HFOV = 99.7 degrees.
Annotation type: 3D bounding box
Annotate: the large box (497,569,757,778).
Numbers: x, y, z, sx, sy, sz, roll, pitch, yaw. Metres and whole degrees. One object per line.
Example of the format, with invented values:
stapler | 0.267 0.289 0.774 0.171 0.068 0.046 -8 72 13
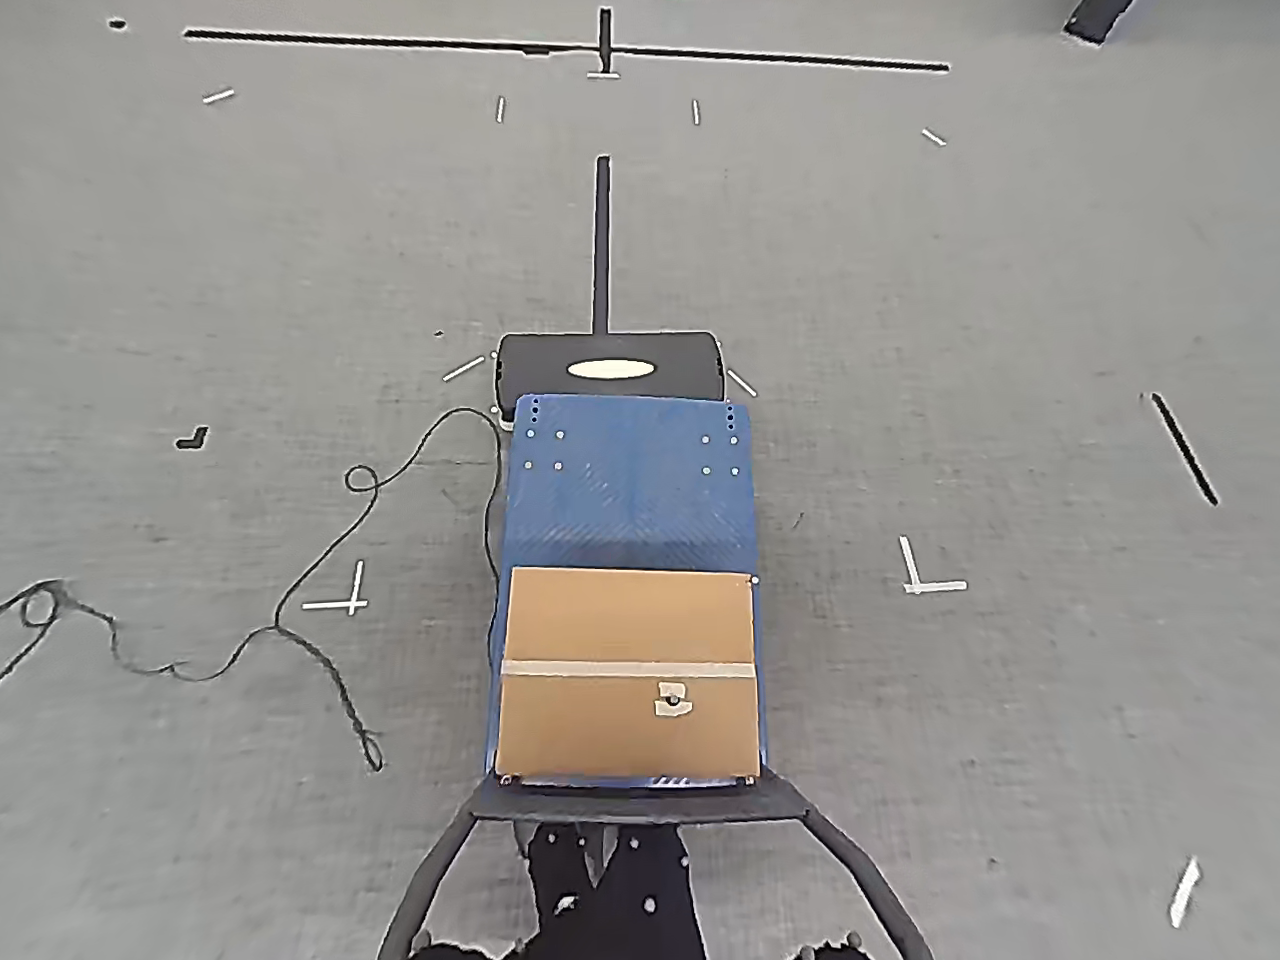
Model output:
large box | -0.029 0.346 1.003 0.408 0.320 0.320 3 73 -4
